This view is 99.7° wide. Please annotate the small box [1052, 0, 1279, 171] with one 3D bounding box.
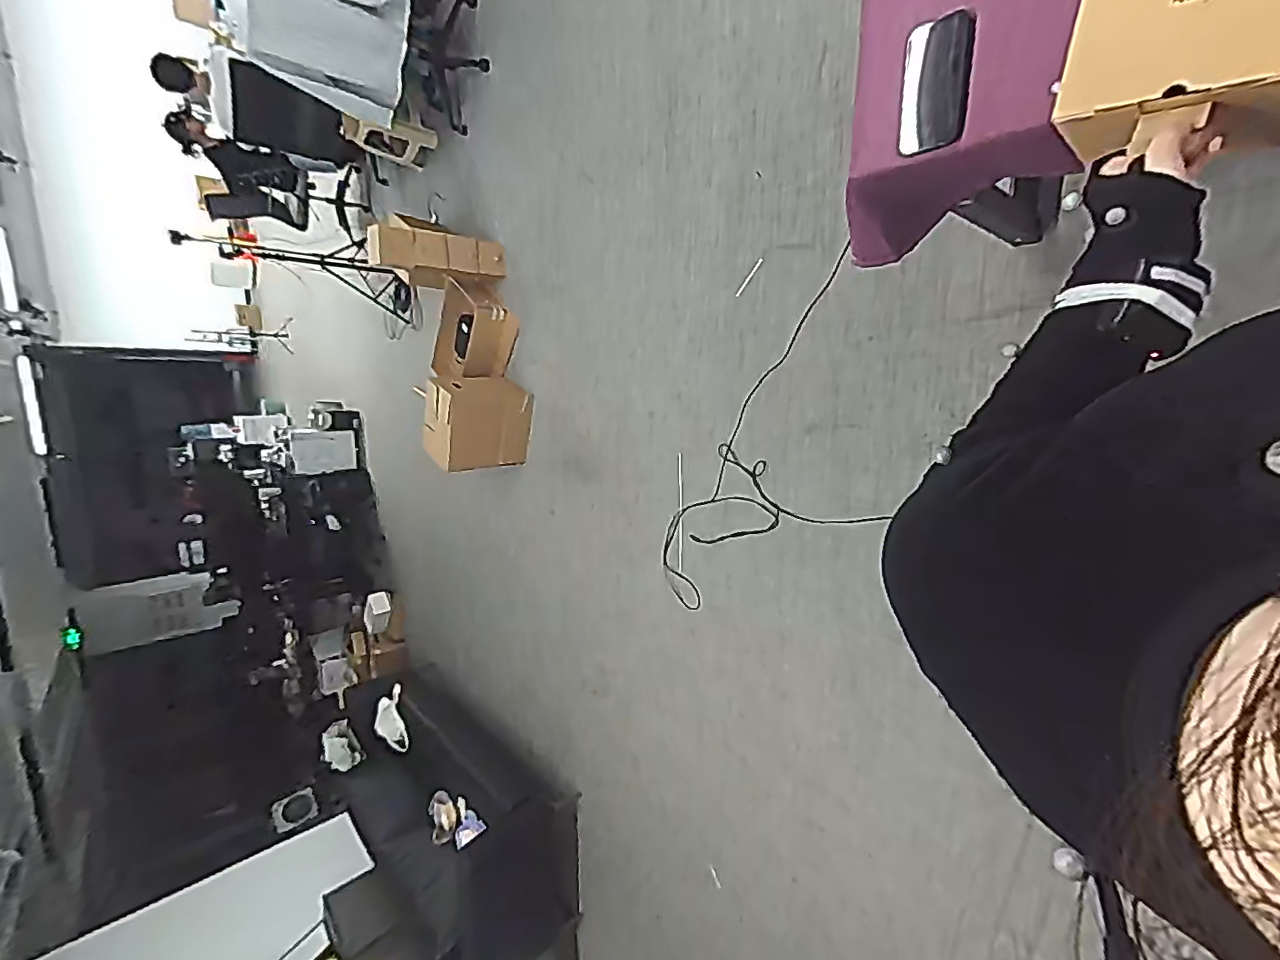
[{"bbox_3d":[0.500,-0.400,0.476,0.168,0.176,0.179,21,112,43],"label":"small box"}]
